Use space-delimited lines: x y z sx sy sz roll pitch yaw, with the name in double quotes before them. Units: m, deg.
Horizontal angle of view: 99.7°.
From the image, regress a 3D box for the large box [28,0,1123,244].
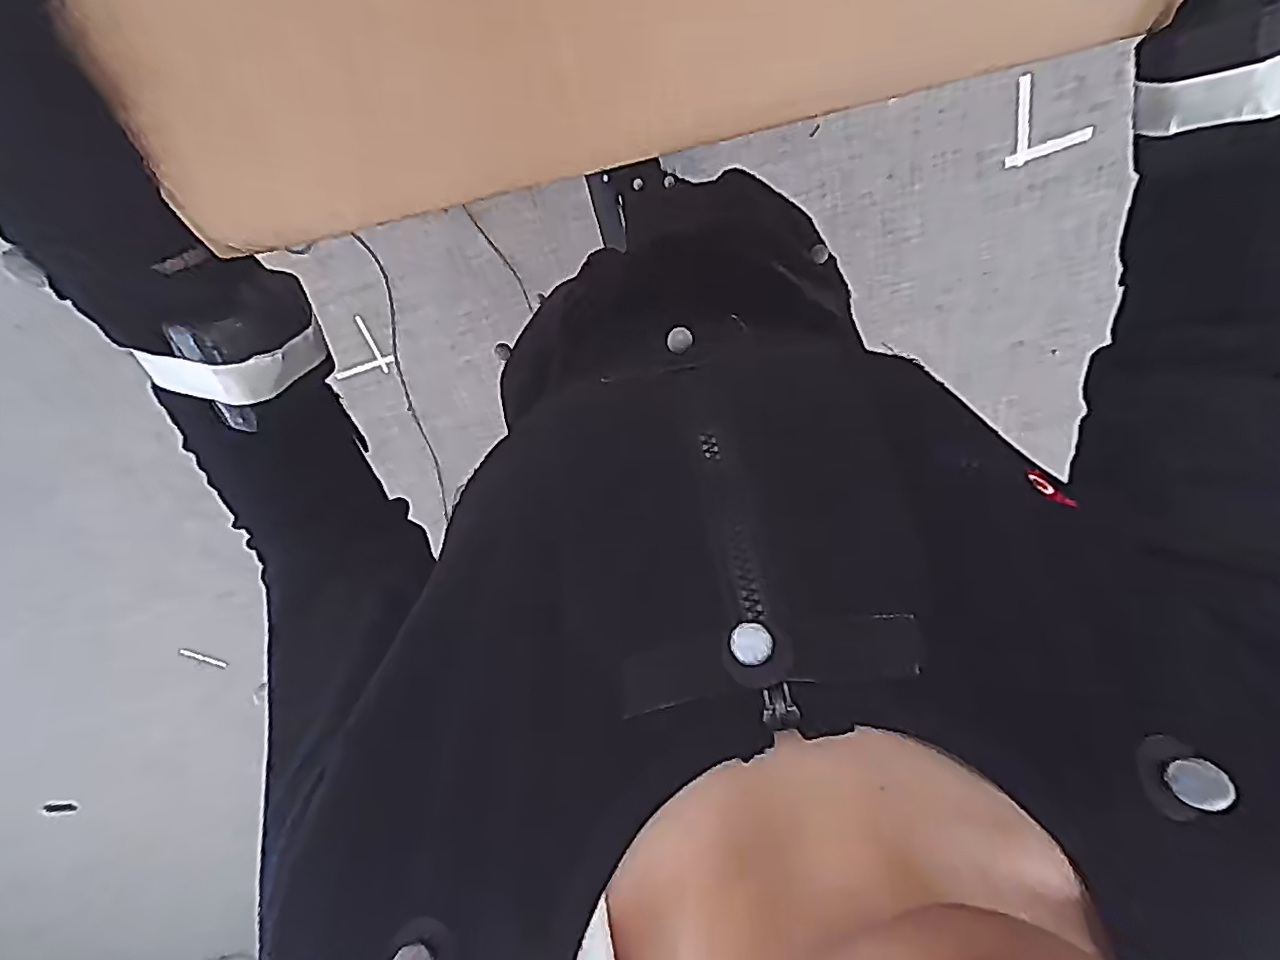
"large box" -0.037 -0.356 0.207 0.408 0.320 0.320 -12 141 3
